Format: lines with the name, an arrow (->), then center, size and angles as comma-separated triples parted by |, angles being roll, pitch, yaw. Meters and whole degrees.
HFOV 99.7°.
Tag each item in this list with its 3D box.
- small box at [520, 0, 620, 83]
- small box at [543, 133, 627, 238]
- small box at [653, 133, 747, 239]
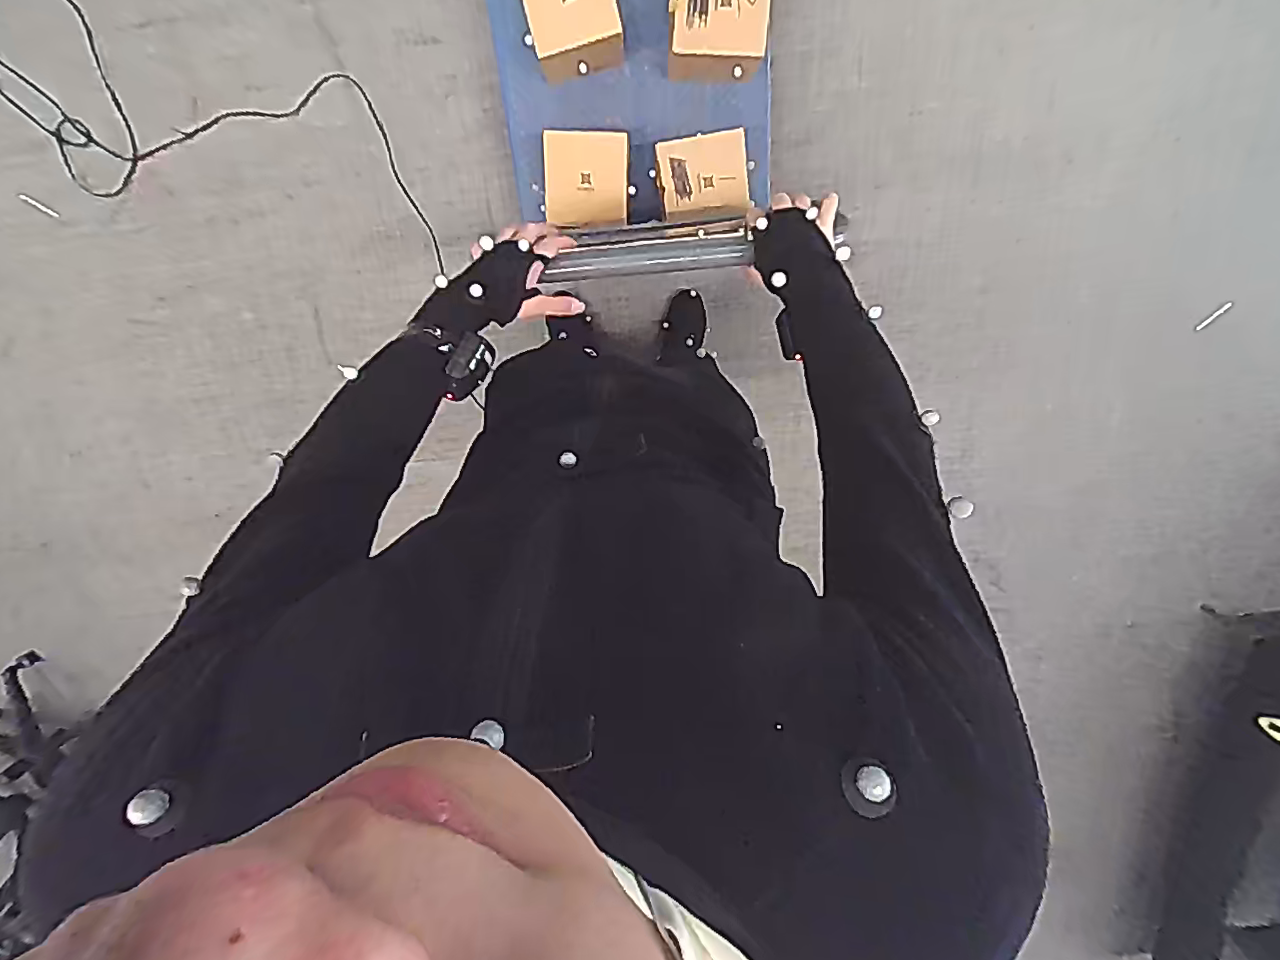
small box -> -0.136, -0.902, 1.044 | 0.168, 0.176, 0.179 | -14, 111, 4
small box -> -0.113, -0.619, 1.155 | 0.168, 0.176, 0.179 | 1, 112, -2
small box -> 0.124, -0.618, 1.155 | 0.179, 0.176, 0.168 | -8, 112, 3
